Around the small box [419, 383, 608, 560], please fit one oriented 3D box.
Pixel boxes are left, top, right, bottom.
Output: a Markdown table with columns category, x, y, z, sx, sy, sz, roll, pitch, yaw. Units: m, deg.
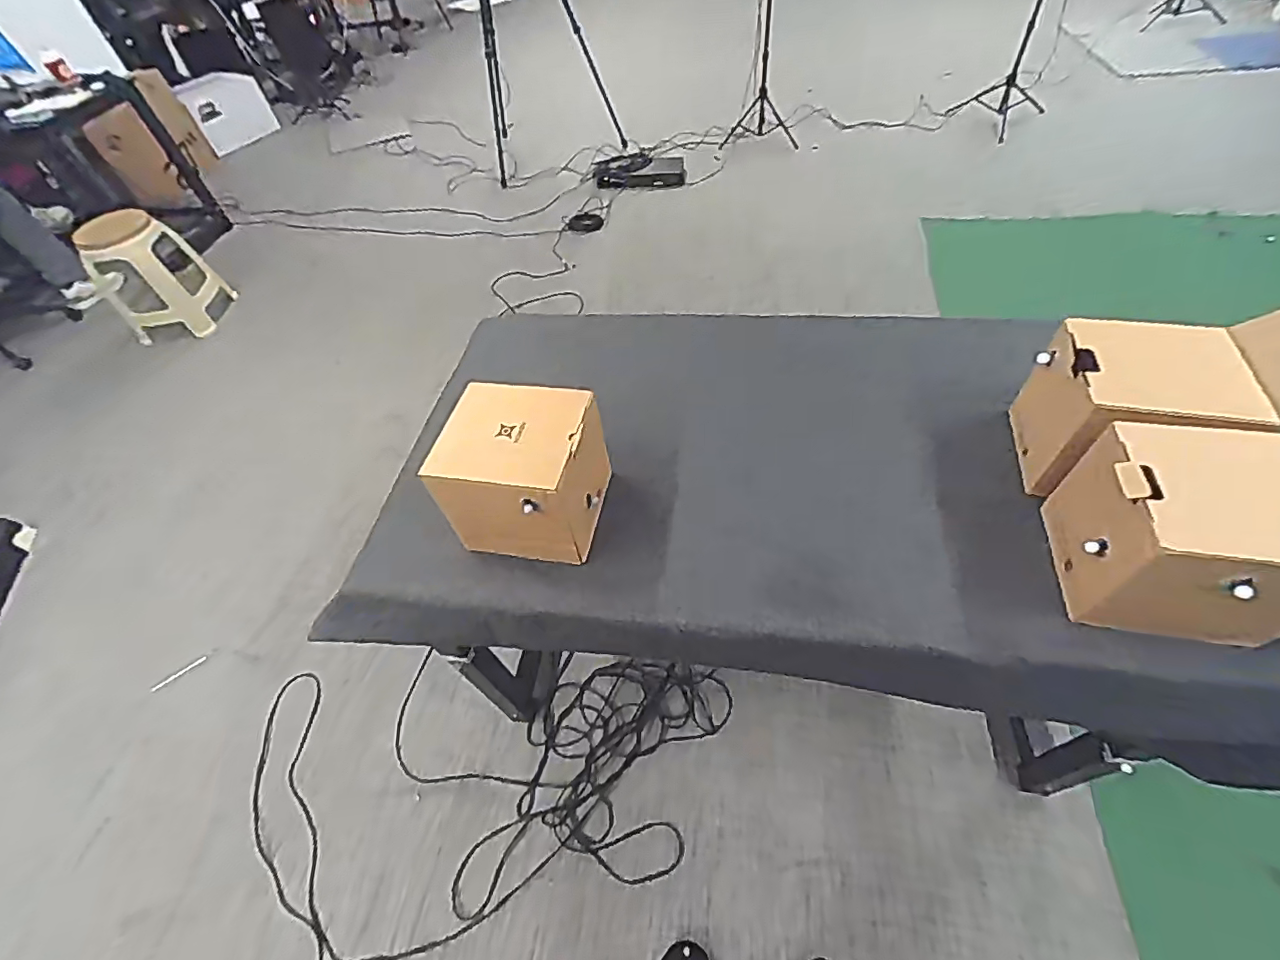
| category | x | y | z | sx | sy | sz | roll | pitch | yaw |
| --- | --- | --- | --- | --- | --- | --- | --- | --- | --- |
| small box | -0.153 | -0.009 | 0.724 | 0.179 | 0.176 | 0.168 | 6 | 52 | 11 |
